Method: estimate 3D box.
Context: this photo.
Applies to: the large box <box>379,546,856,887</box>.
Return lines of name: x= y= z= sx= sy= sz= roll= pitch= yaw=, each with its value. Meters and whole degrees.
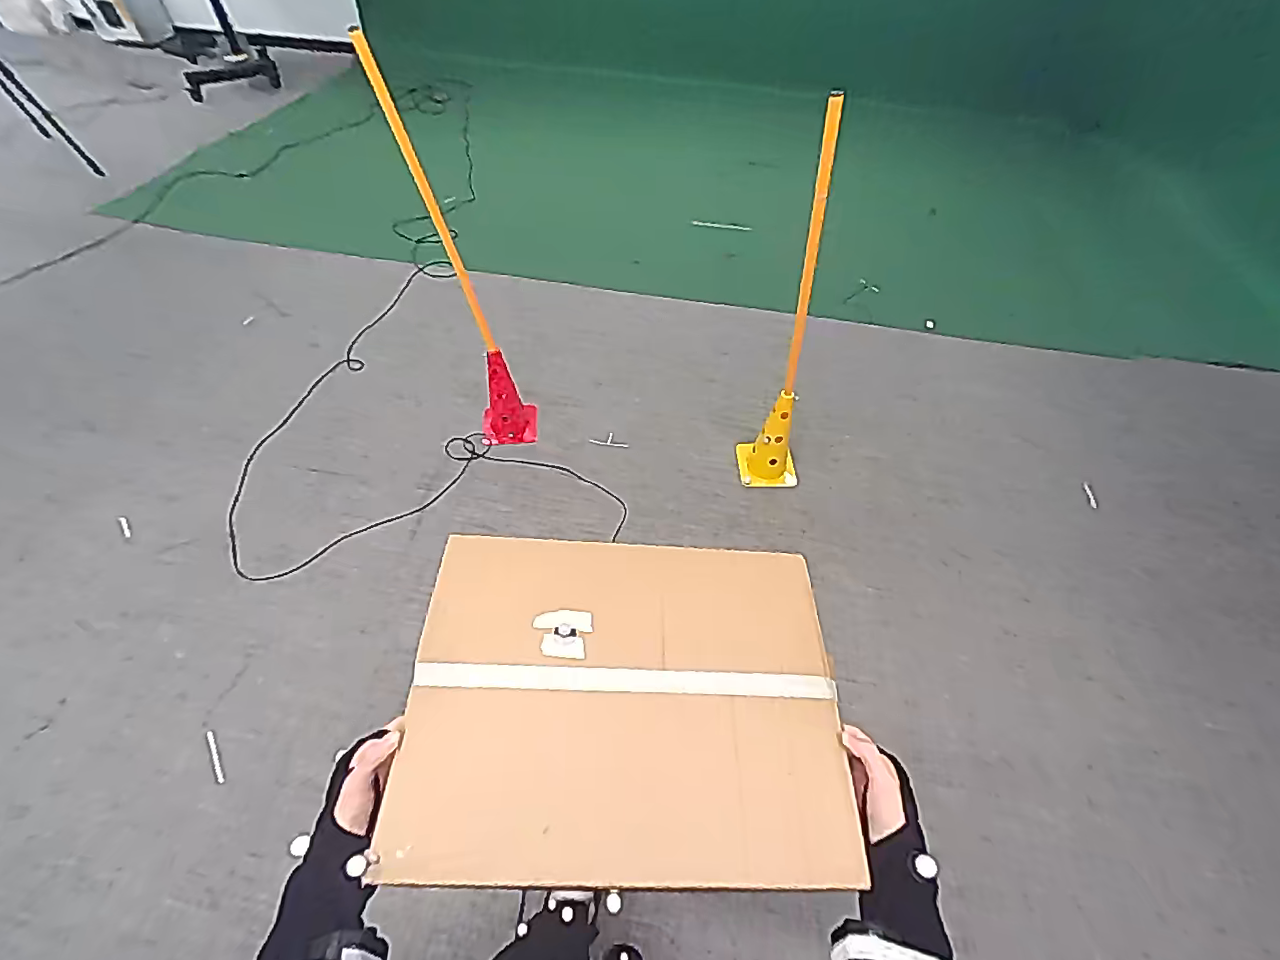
large box: x=-0.023 y=0.293 z=0.651 sx=0.408 sy=0.320 sz=0.320 roll=3 pitch=52 yaw=-3
